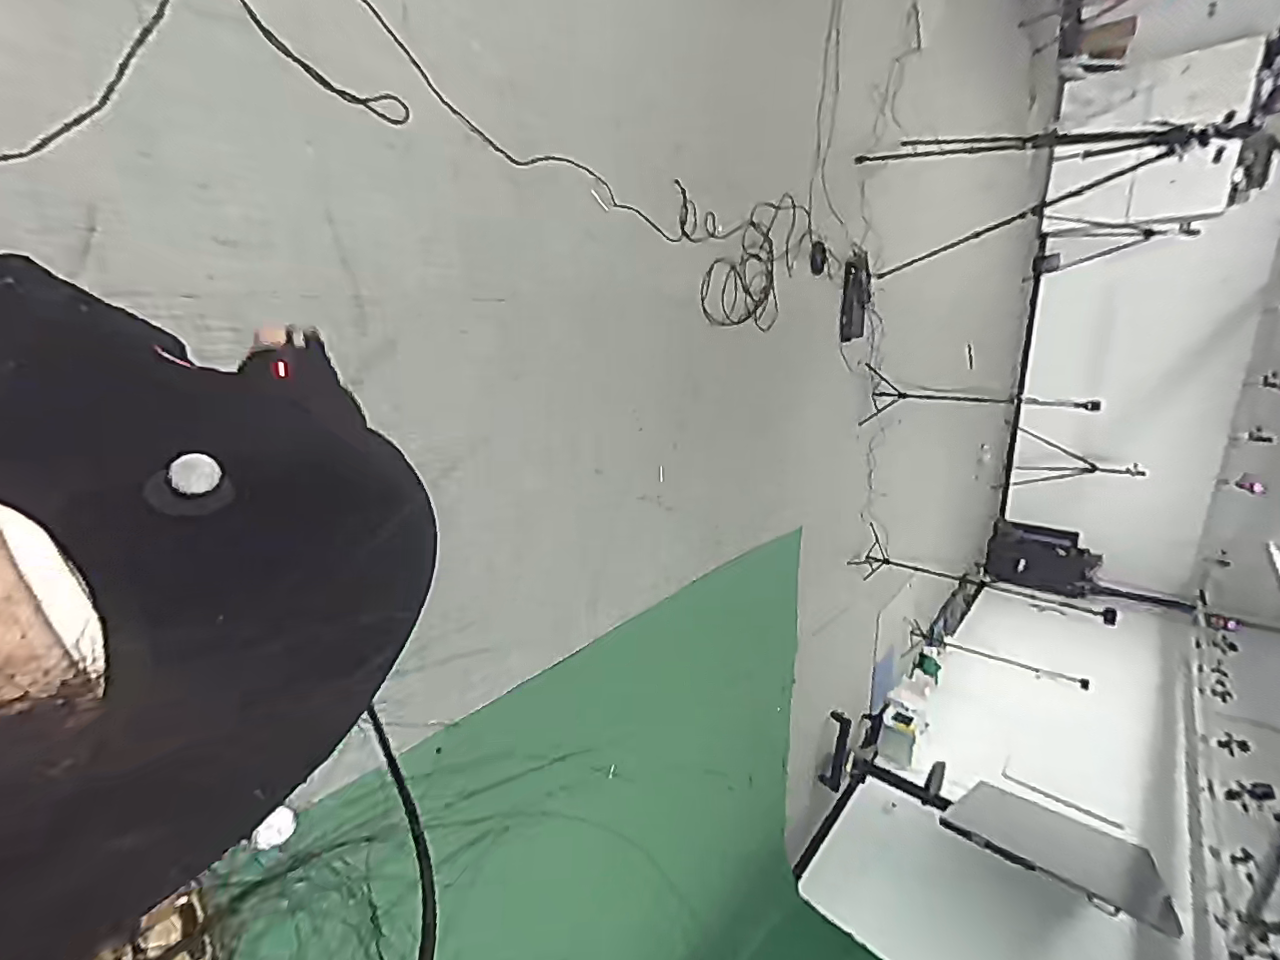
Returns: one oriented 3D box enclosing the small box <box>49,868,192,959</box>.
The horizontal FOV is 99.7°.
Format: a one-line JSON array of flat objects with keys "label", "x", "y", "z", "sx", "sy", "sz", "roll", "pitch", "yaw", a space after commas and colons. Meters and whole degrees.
[{"label": "small box", "x": -0.946, "y": 0.862, "z": 0.990, "sx": 0.168, "sy": 0.176, "sz": 0.179, "roll": -14, "pitch": 108, "yaw": -46}]
